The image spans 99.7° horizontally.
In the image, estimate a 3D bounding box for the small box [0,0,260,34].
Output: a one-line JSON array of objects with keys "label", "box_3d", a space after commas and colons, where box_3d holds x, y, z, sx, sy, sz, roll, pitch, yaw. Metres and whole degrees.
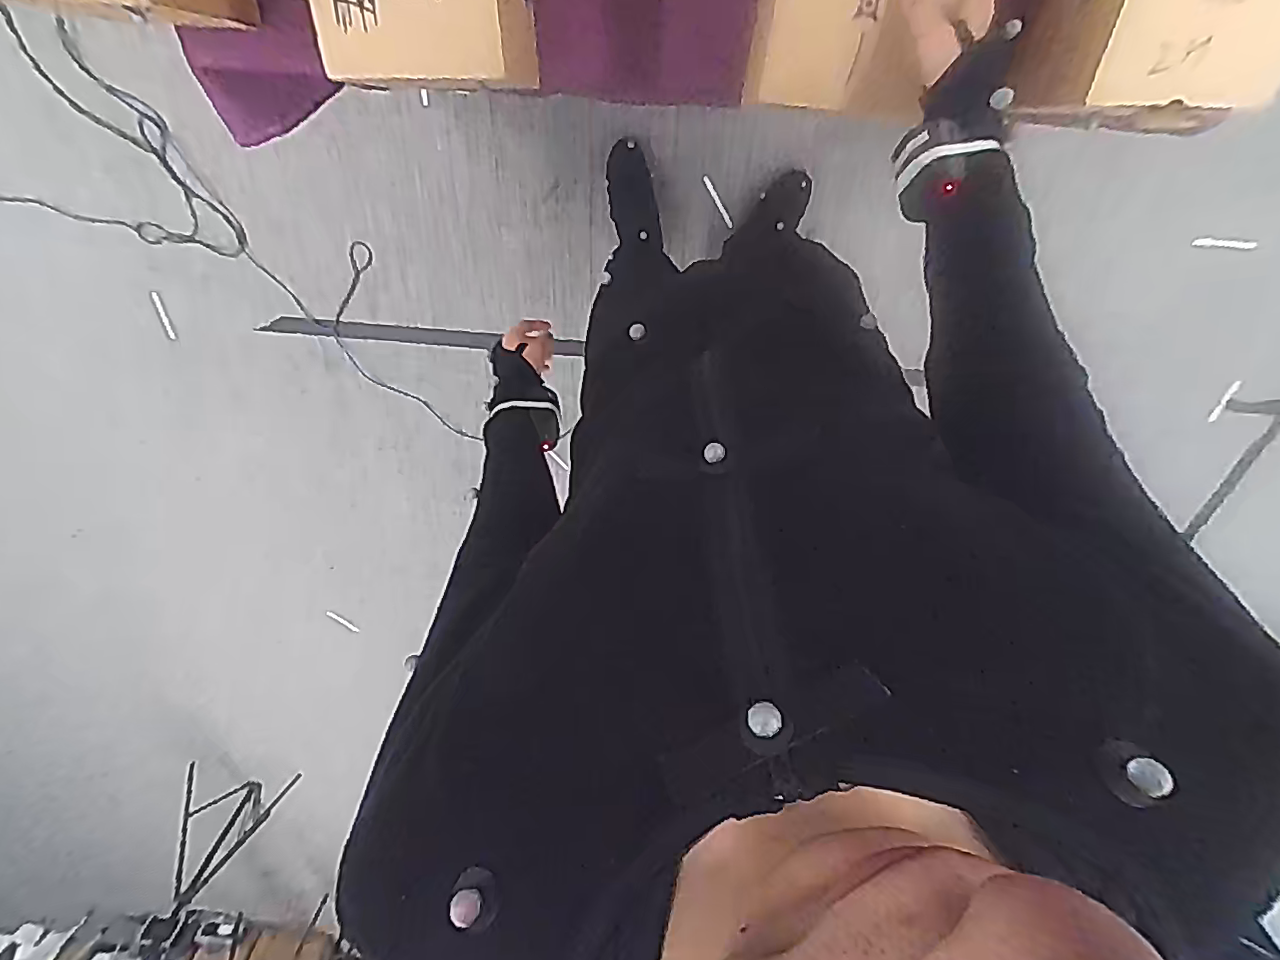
[{"label": "small box", "box_3d": [-0.523, -0.547, 0.519, 0.179, 0.176, 0.168, 2, 124, 0]}]

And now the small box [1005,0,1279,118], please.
[{"label": "small box", "box_3d": [0.496, -0.458, 0.519, 0.168, 0.176, 0.179, 3, 124, 2]}]
